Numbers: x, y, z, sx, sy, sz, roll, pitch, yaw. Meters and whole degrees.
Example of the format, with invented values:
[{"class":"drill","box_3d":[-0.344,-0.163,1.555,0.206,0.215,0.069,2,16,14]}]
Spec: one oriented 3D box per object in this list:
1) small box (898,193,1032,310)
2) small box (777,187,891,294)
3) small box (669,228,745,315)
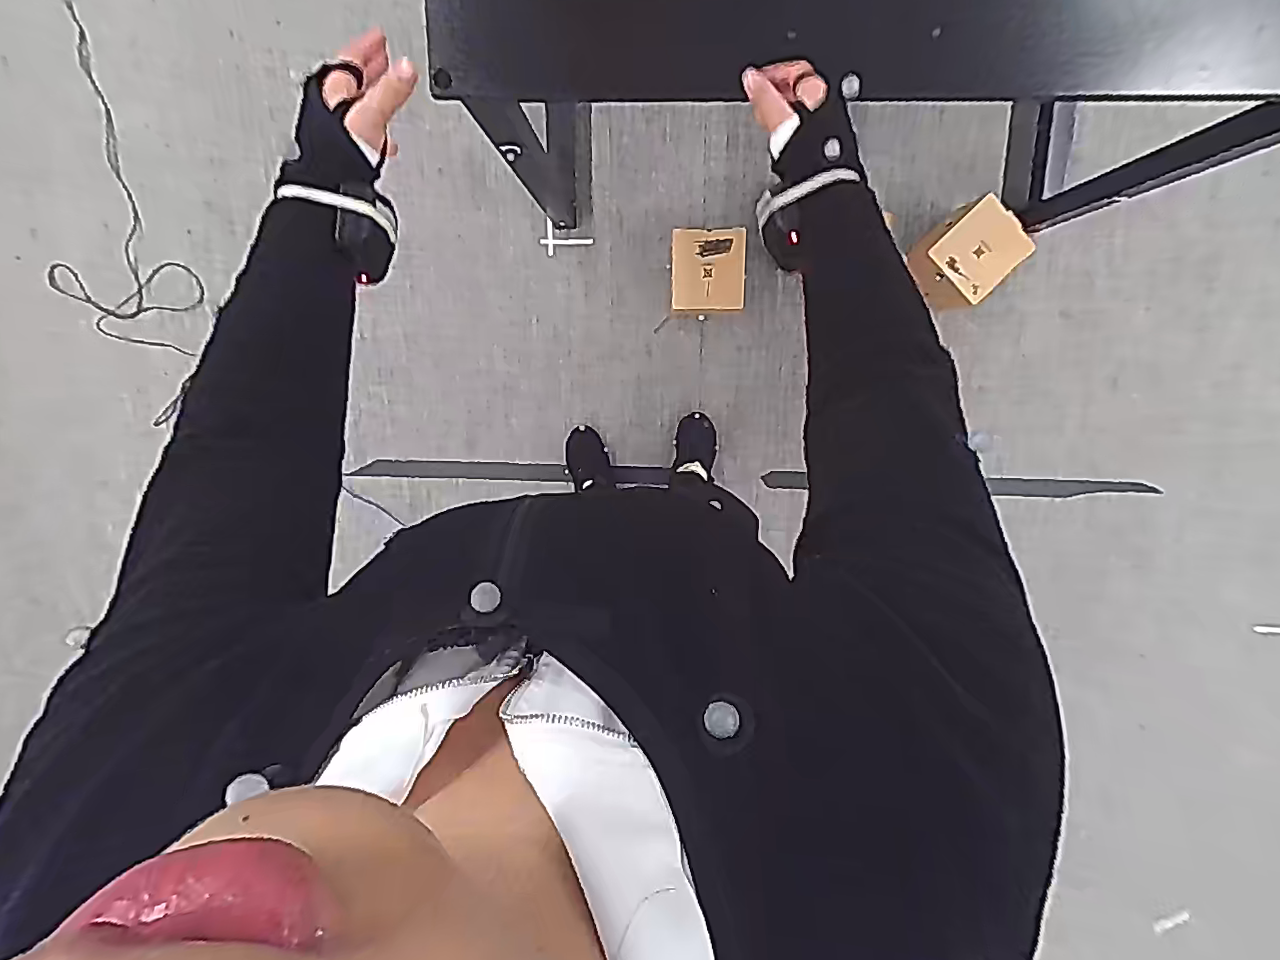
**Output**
[{"class":"small box","box_3d":[0.751,-0.526,1.271,0.168,0.176,0.179,44,100,-6]},{"class":"small box","box_3d":[0.449,-0.554,1.280,0.179,0.176,0.168,22,101,-1]},{"class":"small box","box_3d":[0.155,-0.495,1.302,0.168,0.176,0.179,0,103,2]}]
